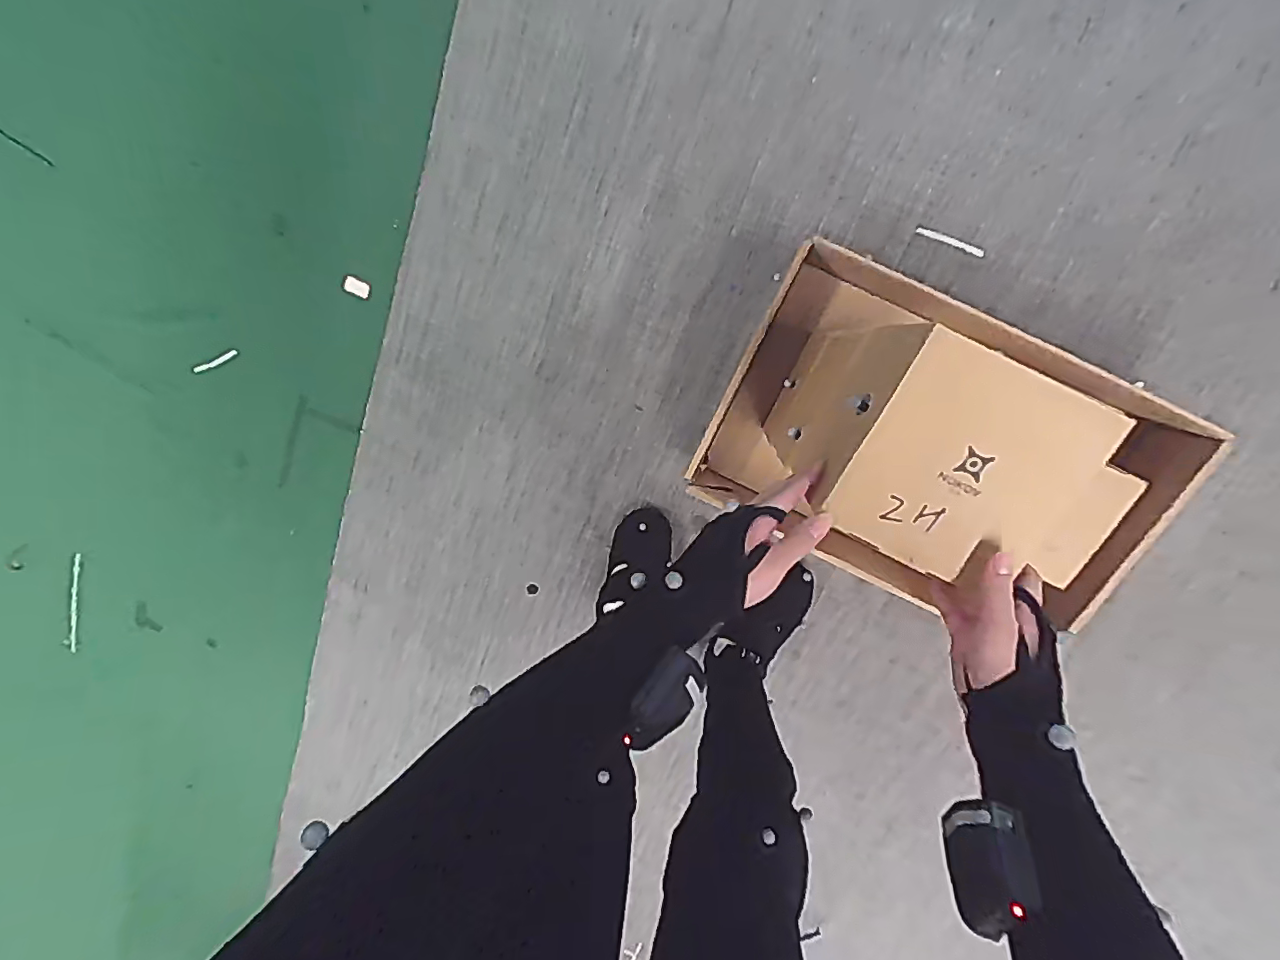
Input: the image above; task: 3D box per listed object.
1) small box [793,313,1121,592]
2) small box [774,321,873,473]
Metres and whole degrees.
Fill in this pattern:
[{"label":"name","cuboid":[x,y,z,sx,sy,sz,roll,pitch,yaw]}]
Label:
[{"label":"small box","cuboid":[0.259,-0.037,0.500,0.168,0.176,0.179,27,108,0]},{"label":"small box","cuboid":[0.277,-0.077,0.658,0.168,0.176,0.179,26,108,0]}]
